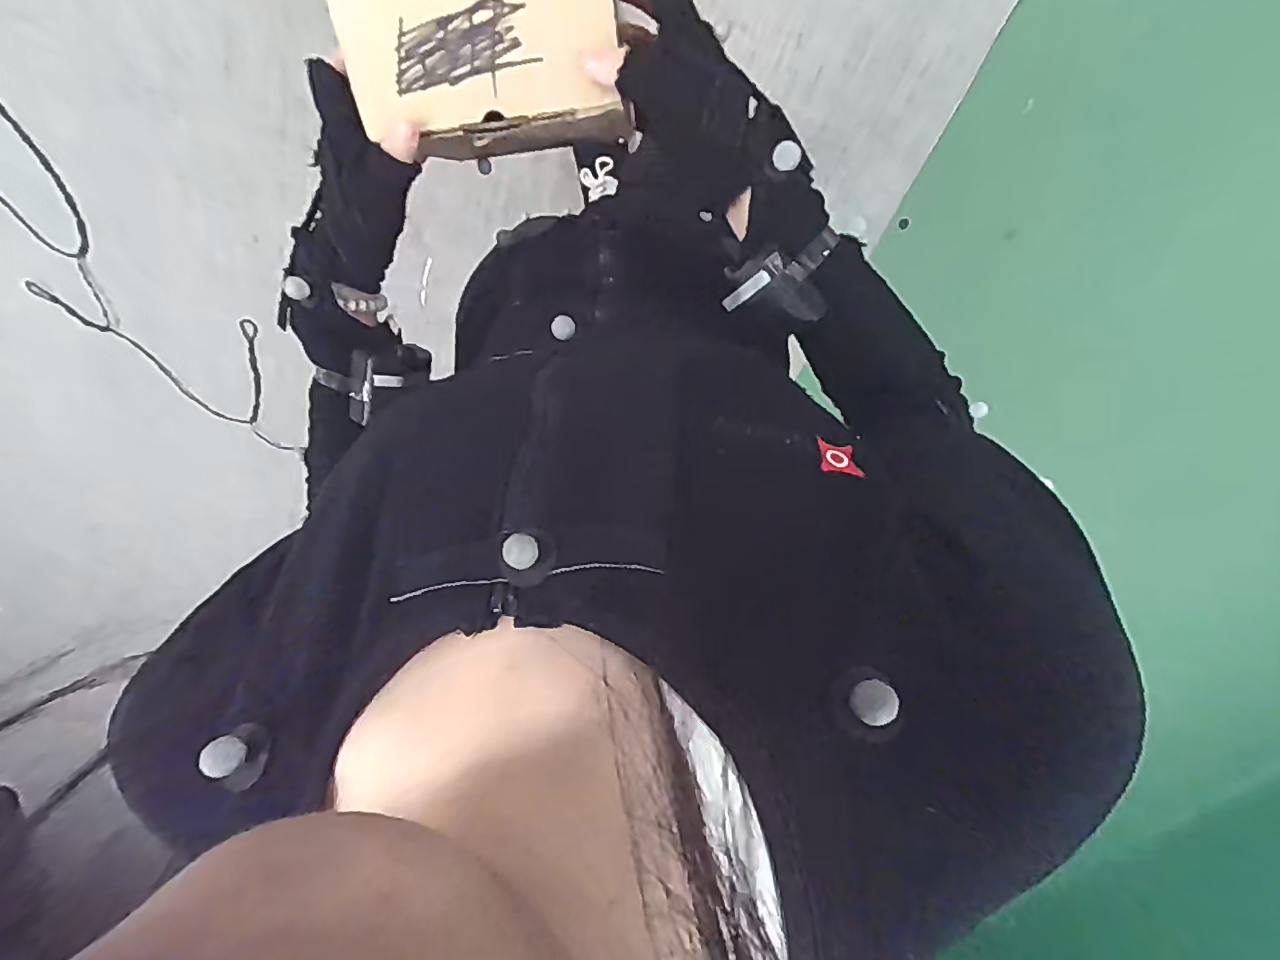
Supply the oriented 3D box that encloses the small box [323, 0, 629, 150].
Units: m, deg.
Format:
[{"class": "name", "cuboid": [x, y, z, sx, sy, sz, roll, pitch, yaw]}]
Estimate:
[{"class": "small box", "cuboid": [-0.101, -0.336, 0.367, 0.168, 0.176, 0.179, -6, 116, 5]}]
